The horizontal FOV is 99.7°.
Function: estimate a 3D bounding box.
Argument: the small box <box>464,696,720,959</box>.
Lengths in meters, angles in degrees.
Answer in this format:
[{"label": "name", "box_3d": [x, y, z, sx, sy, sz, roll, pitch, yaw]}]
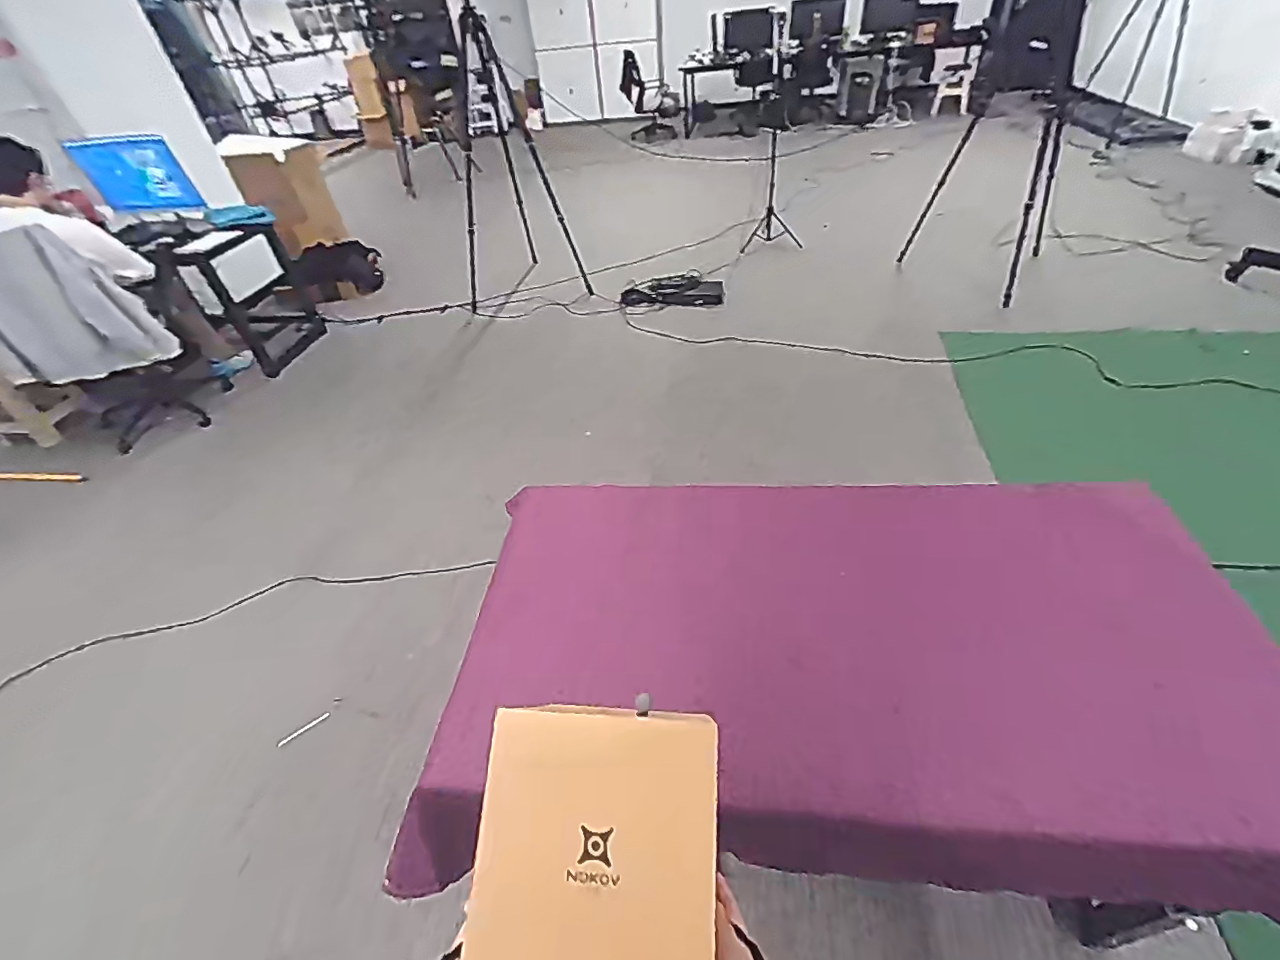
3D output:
[{"label": "small box", "box_3d": [-0.024, 0.277, 0.444, 0.168, 0.176, 0.179, 1, 71, 5]}]
